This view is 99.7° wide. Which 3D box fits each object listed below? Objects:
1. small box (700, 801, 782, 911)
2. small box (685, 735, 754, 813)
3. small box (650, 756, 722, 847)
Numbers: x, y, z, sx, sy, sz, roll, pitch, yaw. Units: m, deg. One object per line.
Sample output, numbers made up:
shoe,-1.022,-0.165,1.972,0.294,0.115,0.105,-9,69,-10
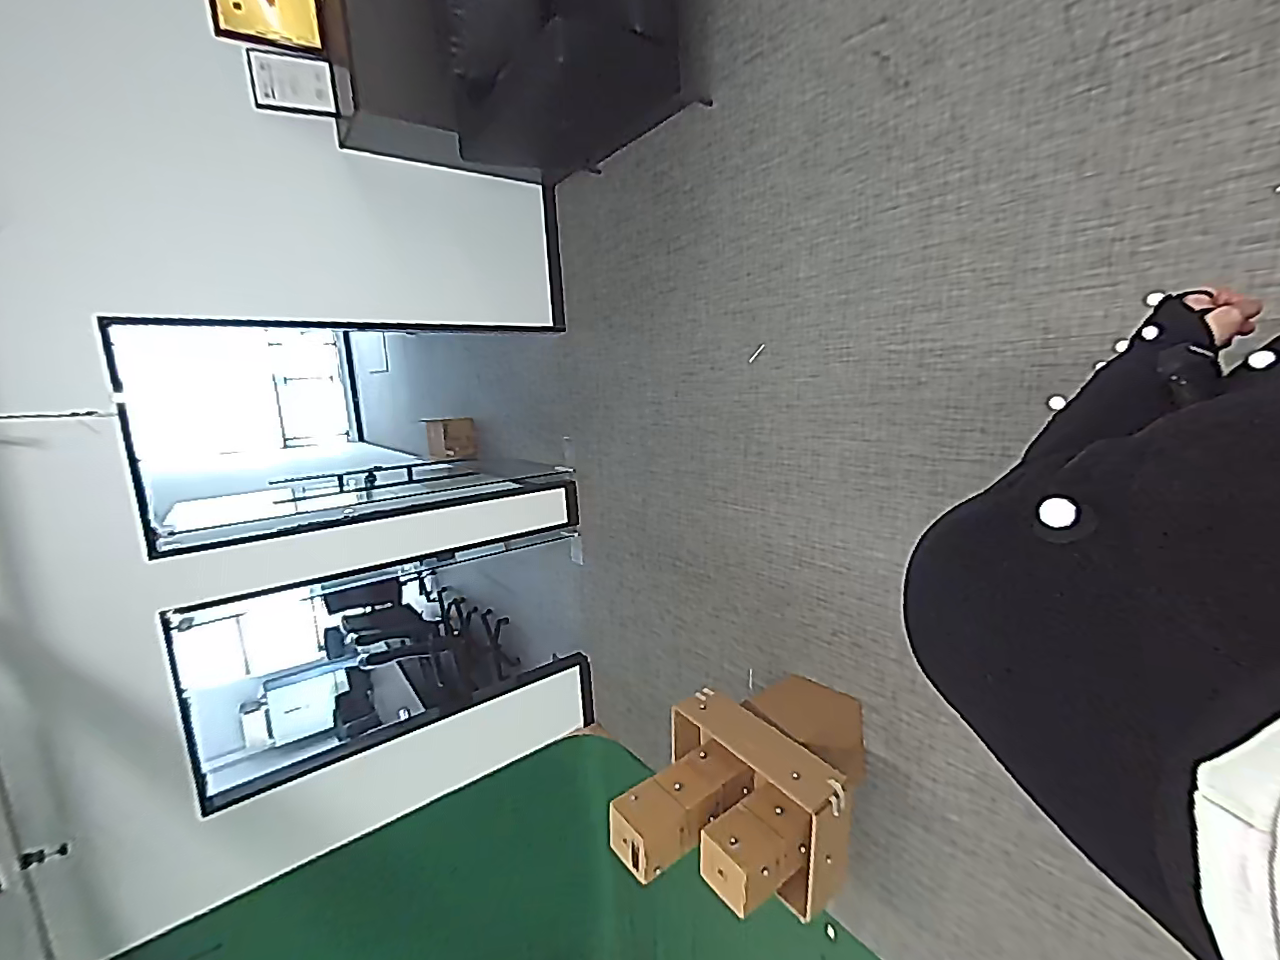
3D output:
small box,0.298,1.095,1.593,0.179,0.176,0.168,16,111,51
small box,0.275,1.024,1.887,0.179,0.176,0.168,15,111,50
small box,0.150,1.049,1.788,0.179,0.176,0.168,13,108,49
